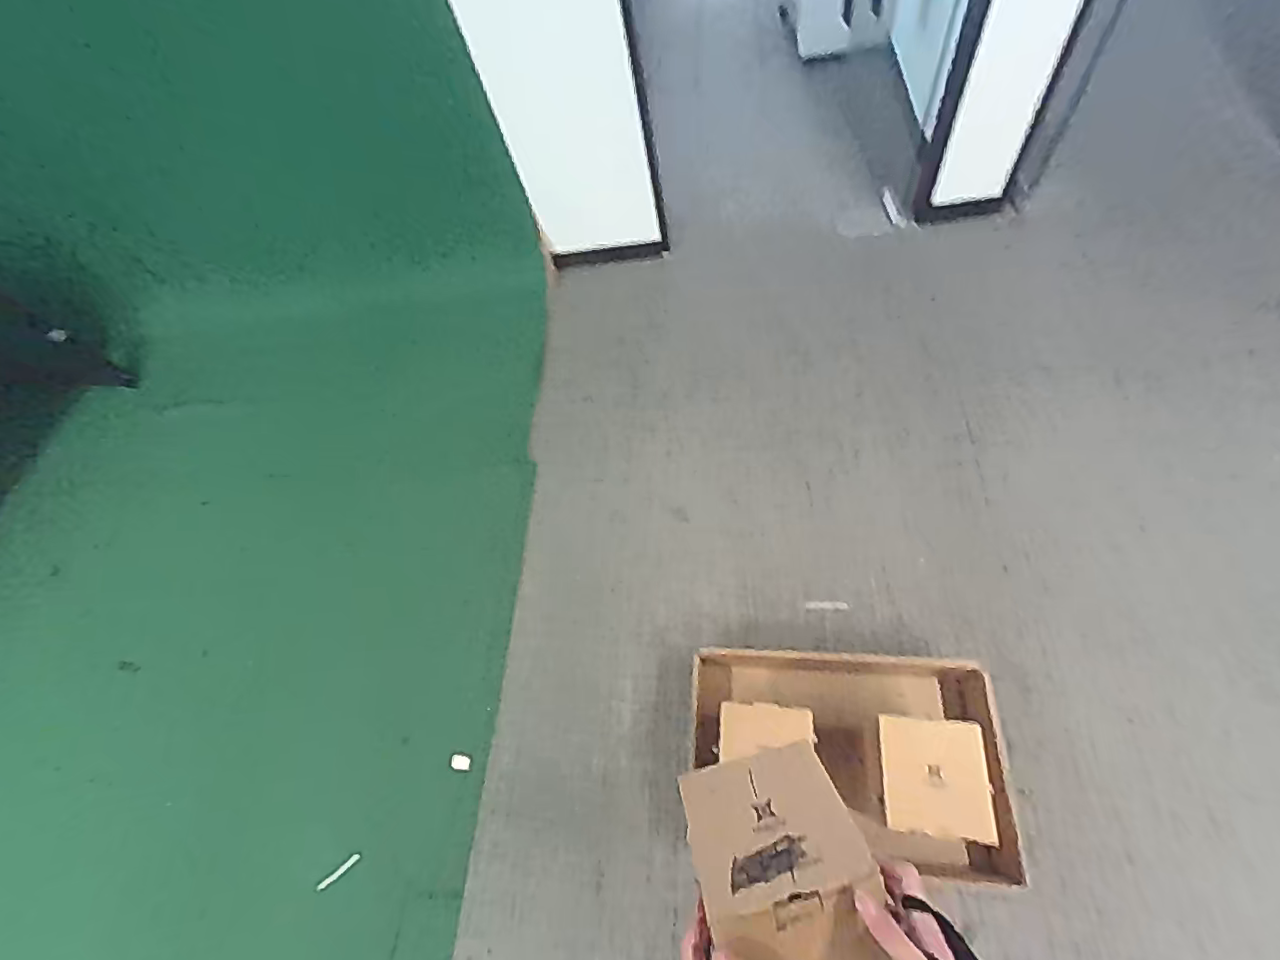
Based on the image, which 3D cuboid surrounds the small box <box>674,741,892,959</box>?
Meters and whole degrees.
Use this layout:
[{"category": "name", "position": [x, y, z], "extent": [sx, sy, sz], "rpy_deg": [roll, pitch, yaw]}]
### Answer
[{"category": "small box", "position": [0.147, 0.426, 0.575], "extent": [0.168, 0.176, 0.179], "rpy_deg": [-15, 16, -2]}]

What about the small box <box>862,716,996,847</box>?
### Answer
[{"category": "small box", "position": [0.505, 0.536, 0.974], "extent": [0.168, 0.176, 0.179], "rpy_deg": [1, 63, 12]}]

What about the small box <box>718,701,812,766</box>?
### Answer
[{"category": "small box", "position": [0.234, 0.532, 1.029], "extent": [0.168, 0.176, 0.179], "rpy_deg": [1, 63, 12]}]
